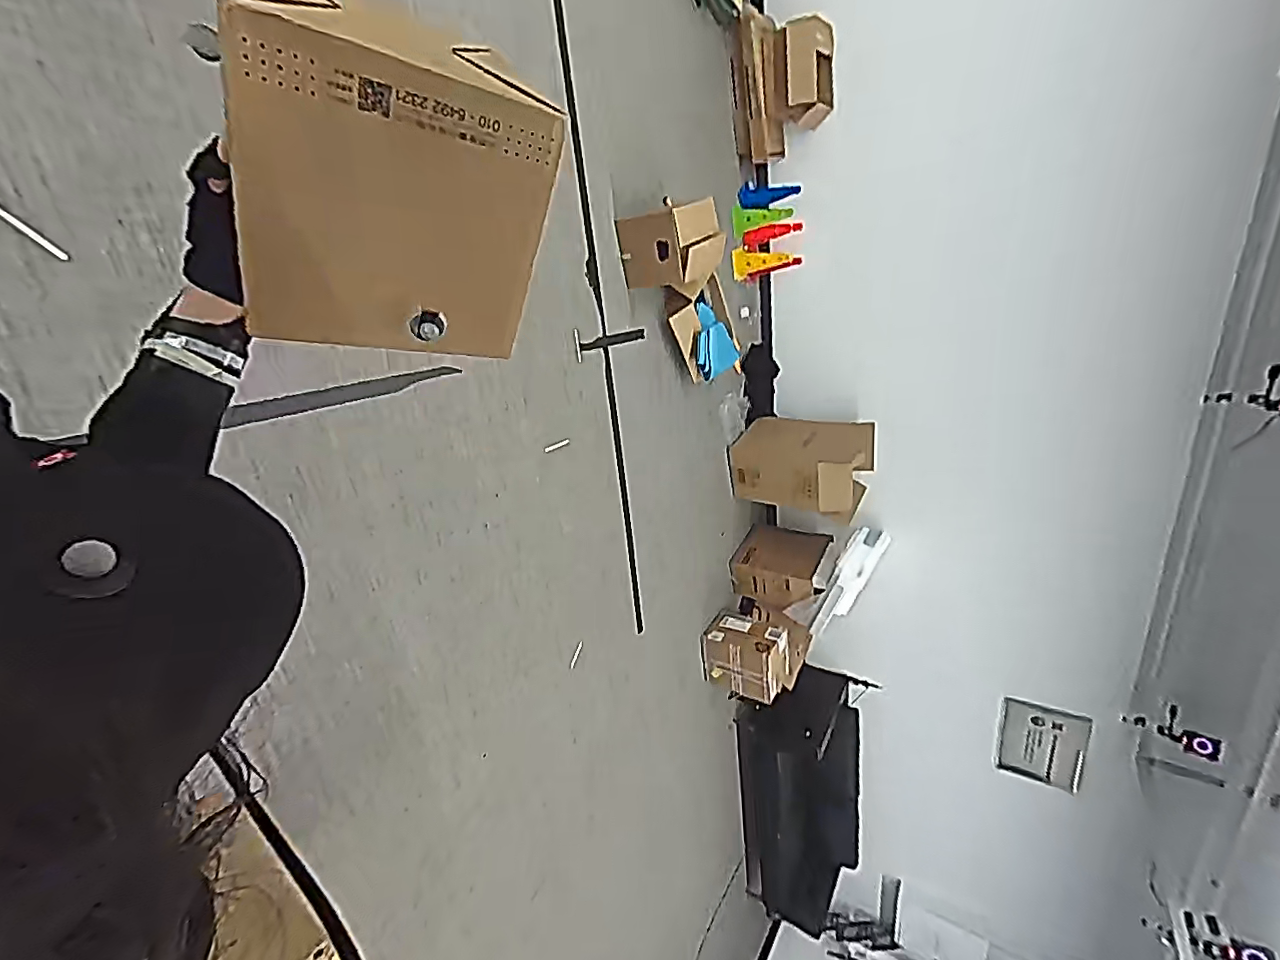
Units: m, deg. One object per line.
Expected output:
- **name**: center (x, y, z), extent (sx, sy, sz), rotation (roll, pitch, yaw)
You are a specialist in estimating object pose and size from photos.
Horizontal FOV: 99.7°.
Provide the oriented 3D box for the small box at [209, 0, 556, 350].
- **small box**: center (-0.171, -0.212, 0.357), extent (0.168, 0.179, 0.176), rotation (-3, 137, -33)
